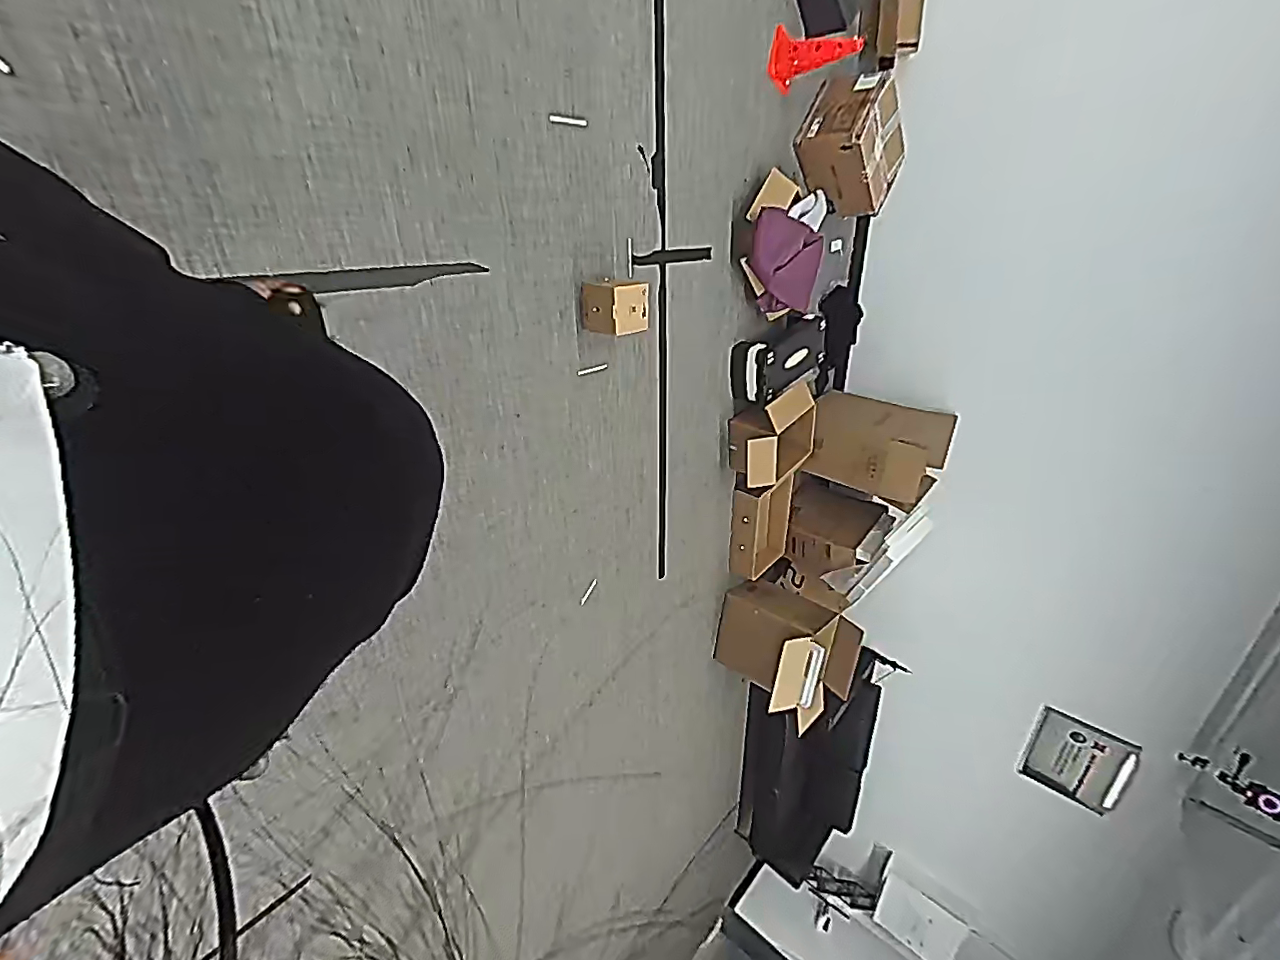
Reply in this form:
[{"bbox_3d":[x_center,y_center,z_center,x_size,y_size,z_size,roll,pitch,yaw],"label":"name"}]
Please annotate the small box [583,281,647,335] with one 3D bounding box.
[{"bbox_3d":[-0.094,-0.627,1.955,0.179,0.176,0.168,-25,125,-41],"label":"small box"}]
